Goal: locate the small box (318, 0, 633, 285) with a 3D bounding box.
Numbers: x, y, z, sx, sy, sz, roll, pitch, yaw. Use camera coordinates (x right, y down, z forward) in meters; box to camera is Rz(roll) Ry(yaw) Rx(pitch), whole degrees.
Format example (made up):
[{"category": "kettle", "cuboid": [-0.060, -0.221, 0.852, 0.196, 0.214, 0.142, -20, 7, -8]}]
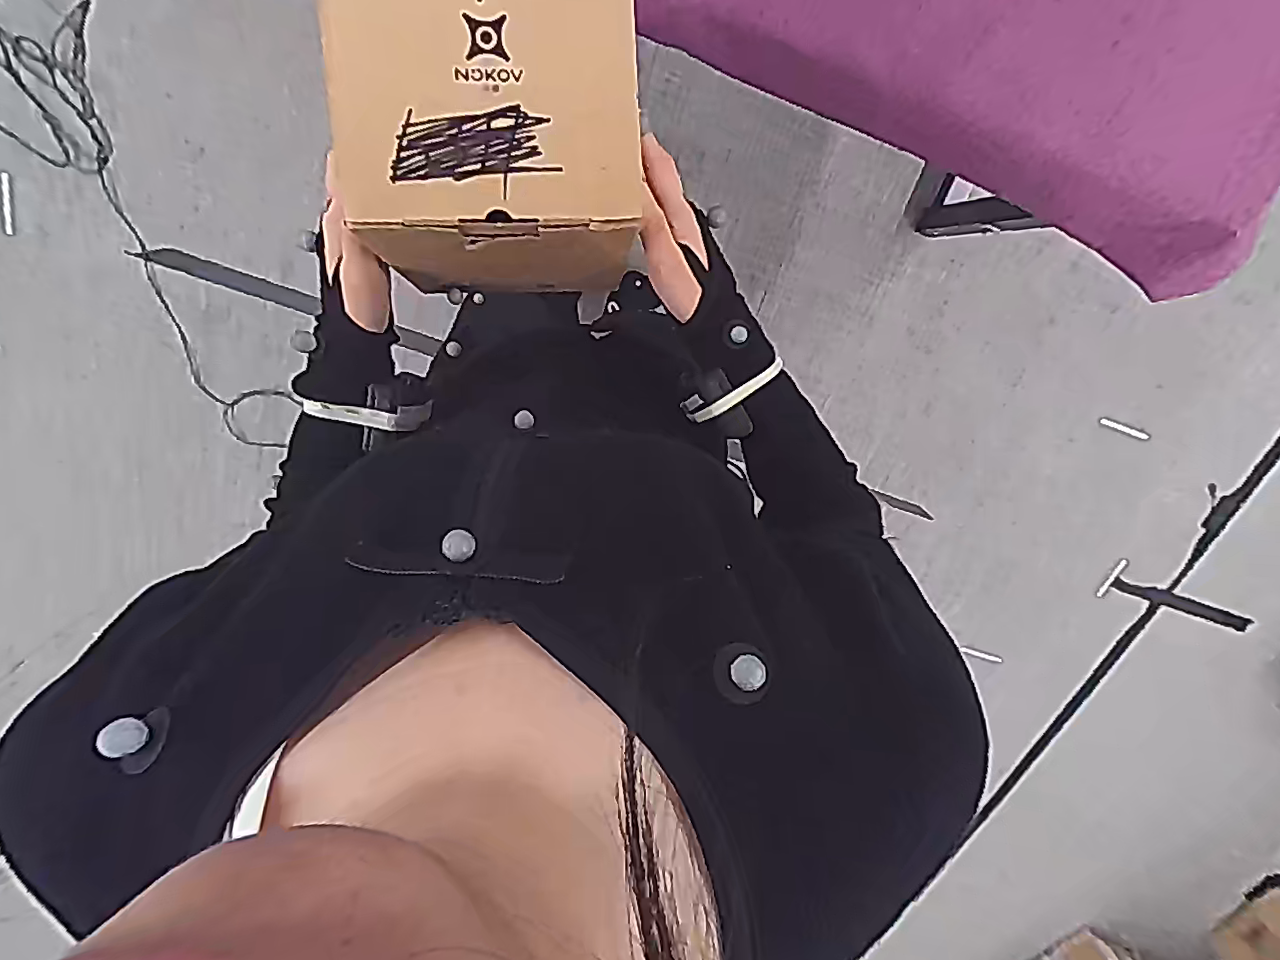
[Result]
[{"category": "small box", "cuboid": [-0.096, -0.240, 0.373, 0.168, 0.176, 0.179, -4, 96, -8]}]
